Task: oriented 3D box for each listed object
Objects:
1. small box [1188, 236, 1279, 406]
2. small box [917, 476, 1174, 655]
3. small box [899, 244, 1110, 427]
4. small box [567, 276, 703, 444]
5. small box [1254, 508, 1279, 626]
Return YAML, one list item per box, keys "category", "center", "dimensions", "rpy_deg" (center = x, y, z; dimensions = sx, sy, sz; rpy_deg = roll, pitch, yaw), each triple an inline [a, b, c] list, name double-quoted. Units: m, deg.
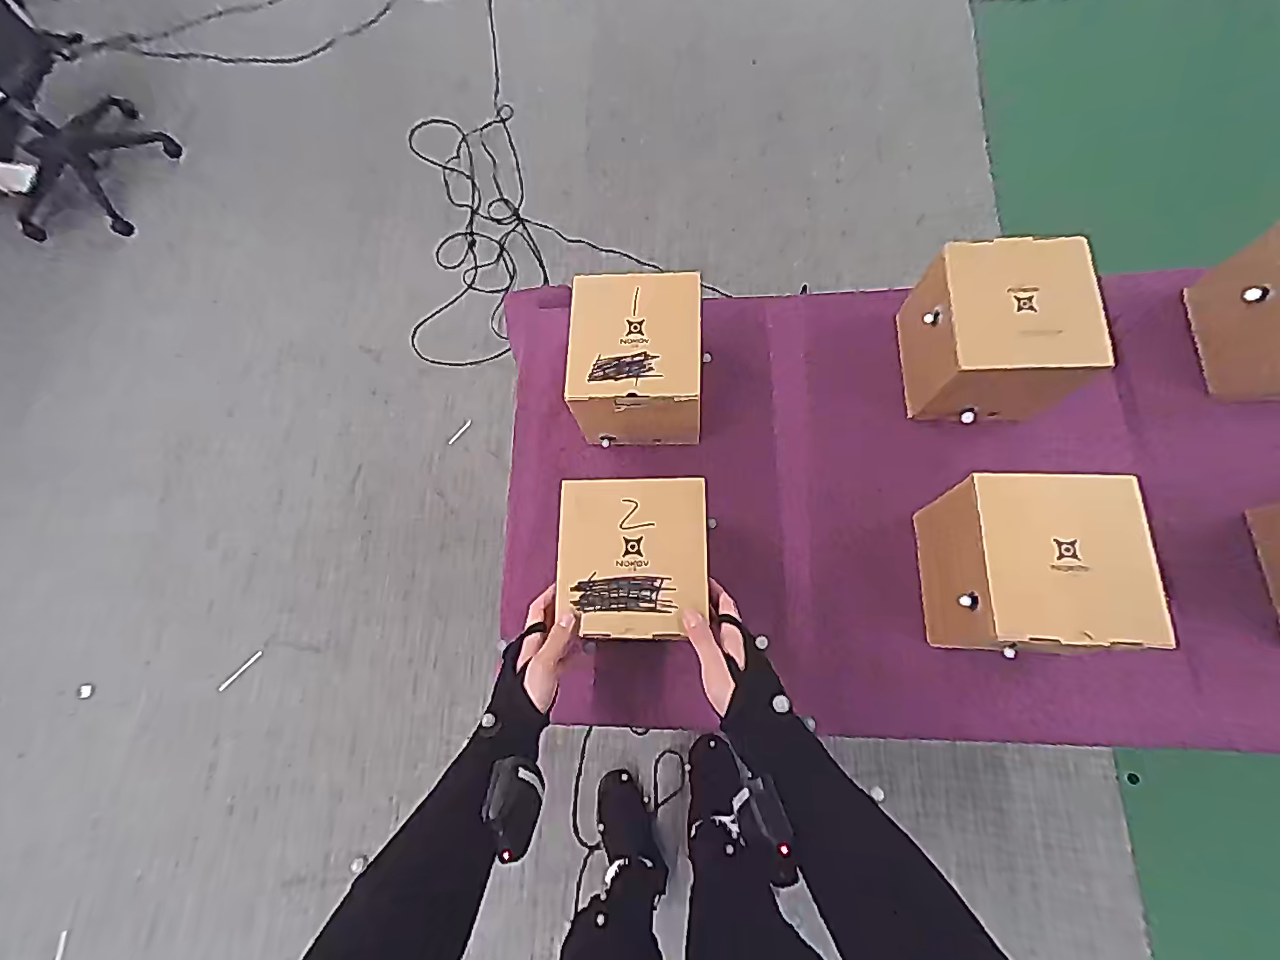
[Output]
- category: "small box"
  center: [0.854, -0.206, 0.677]
  dimensions: [0.168, 0.176, 0.179]
  rpy_deg: [0, 74, 8]
- category: "small box"
  center: [0.441, 0.105, 0.626]
  dimensions: [0.168, 0.176, 0.179]
  rpy_deg: [1, 72, 6]
- category: "small box"
  center: [0.458, -0.183, 0.713]
  dimensions: [0.168, 0.176, 0.179]
  rpy_deg: [1, 75, 6]
- category: "small box"
  center: [0.003, -0.155, 0.747]
  dimensions: [0.168, 0.176, 0.179]
  rpy_deg: [1, 74, 5]
- category: "small box"
  center: [0.843, 0.101, 0.583]
  dimensions: [0.168, 0.176, 0.179]
  rpy_deg: [1, 72, 7]
